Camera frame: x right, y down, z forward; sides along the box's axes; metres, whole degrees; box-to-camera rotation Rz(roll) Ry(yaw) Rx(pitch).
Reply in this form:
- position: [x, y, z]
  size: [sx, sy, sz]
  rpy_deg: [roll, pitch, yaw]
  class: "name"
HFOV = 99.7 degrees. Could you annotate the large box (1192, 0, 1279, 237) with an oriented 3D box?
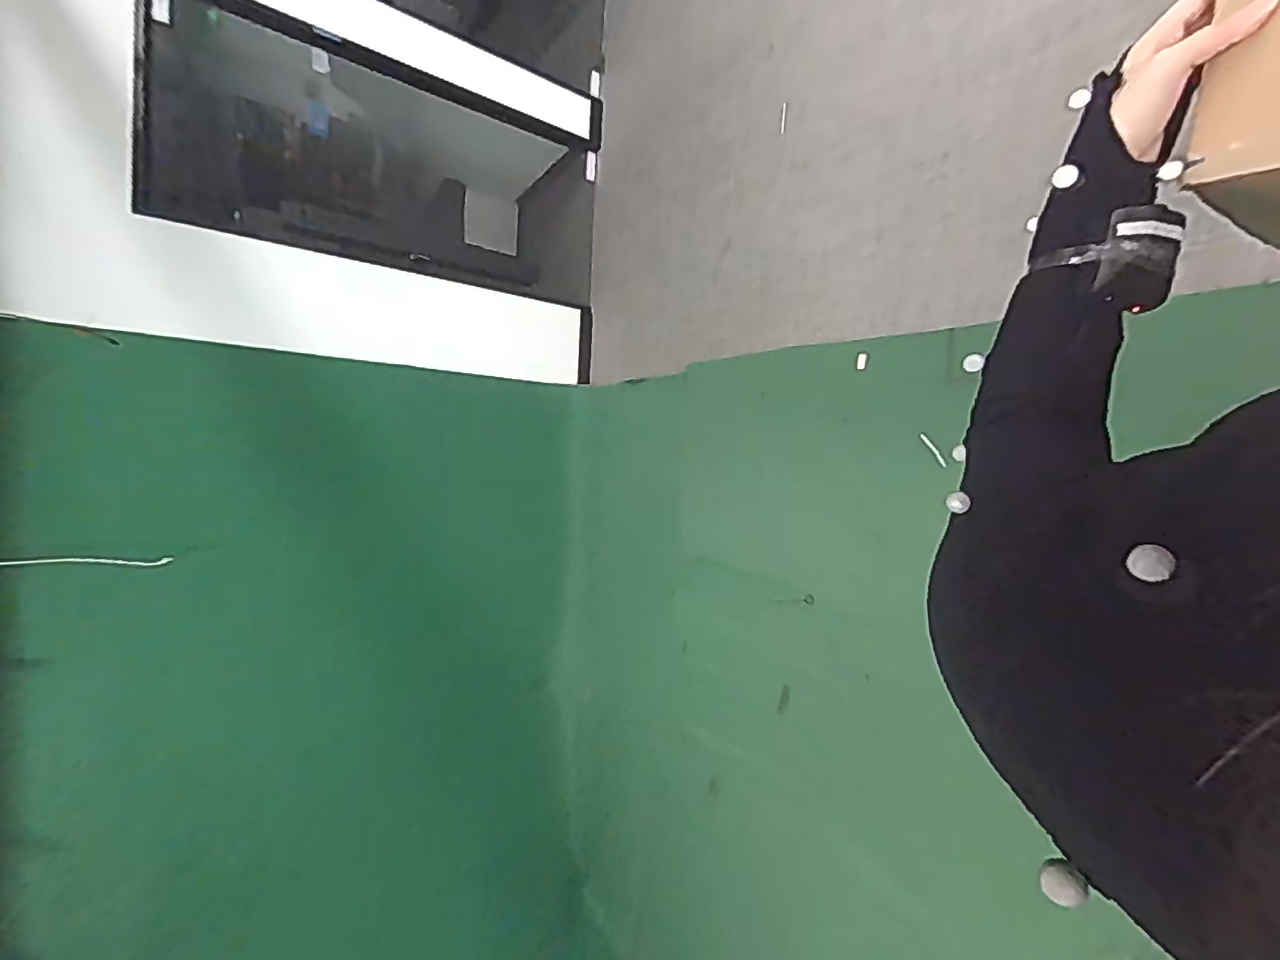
- position: [0.644, -0.343, 0.286]
  size: [0.408, 0.320, 0.320]
  rpy_deg: [18, 109, 57]
  class: "large box"
